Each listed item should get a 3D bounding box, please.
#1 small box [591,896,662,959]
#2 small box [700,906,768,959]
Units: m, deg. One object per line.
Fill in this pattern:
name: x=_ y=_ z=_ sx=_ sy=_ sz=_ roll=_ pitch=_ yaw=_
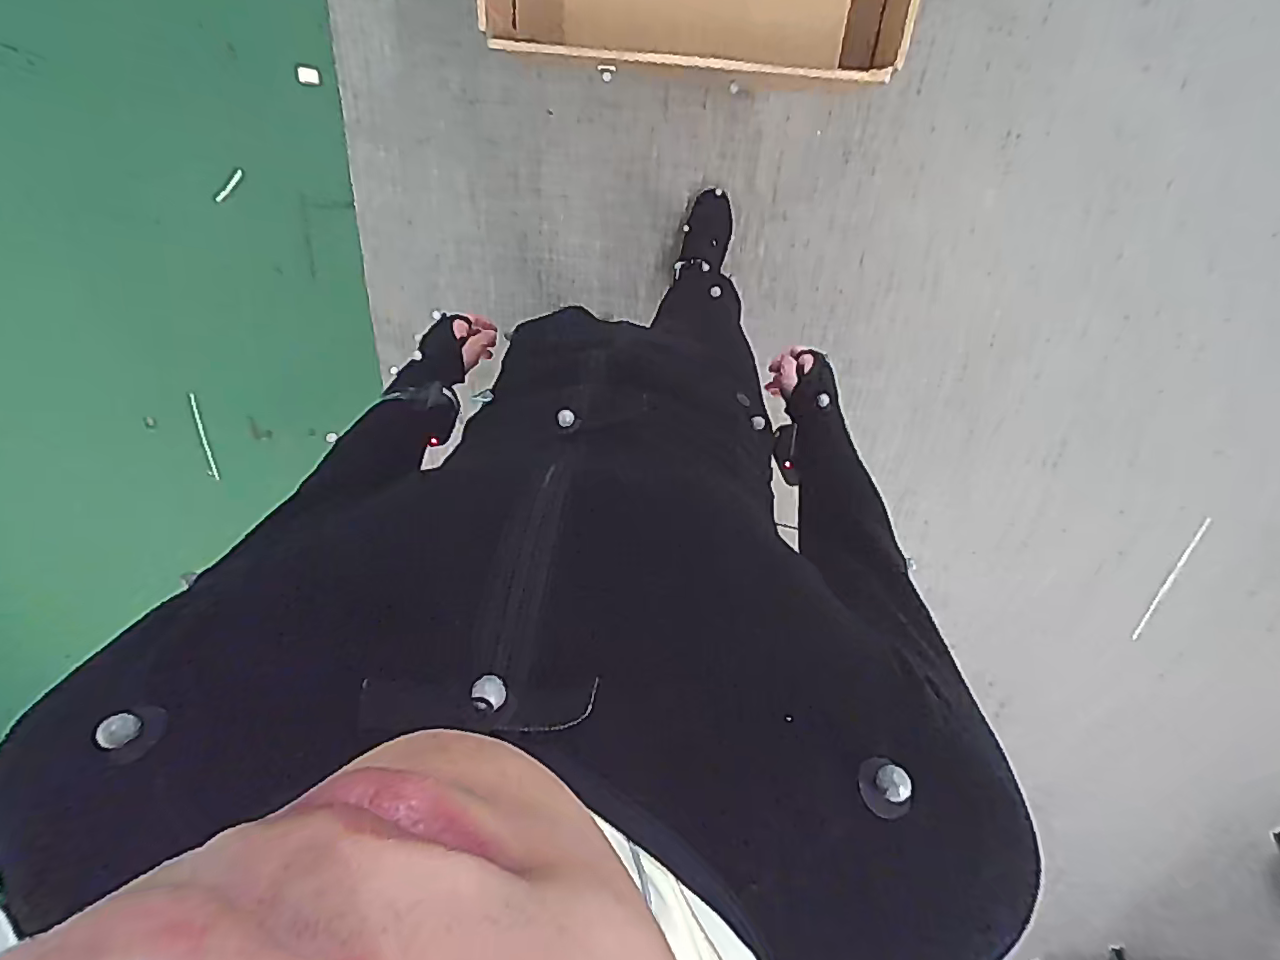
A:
small box: x=-0.033 y=1.277 z=1.477 sx=0.179 sy=0.176 sz=0.168 roll=2 pitch=117 yaw=5
small box: x=0.249 y=1.286 z=1.453 sx=0.168 sy=0.176 sz=0.179 roll=2 pitch=118 yaw=5
